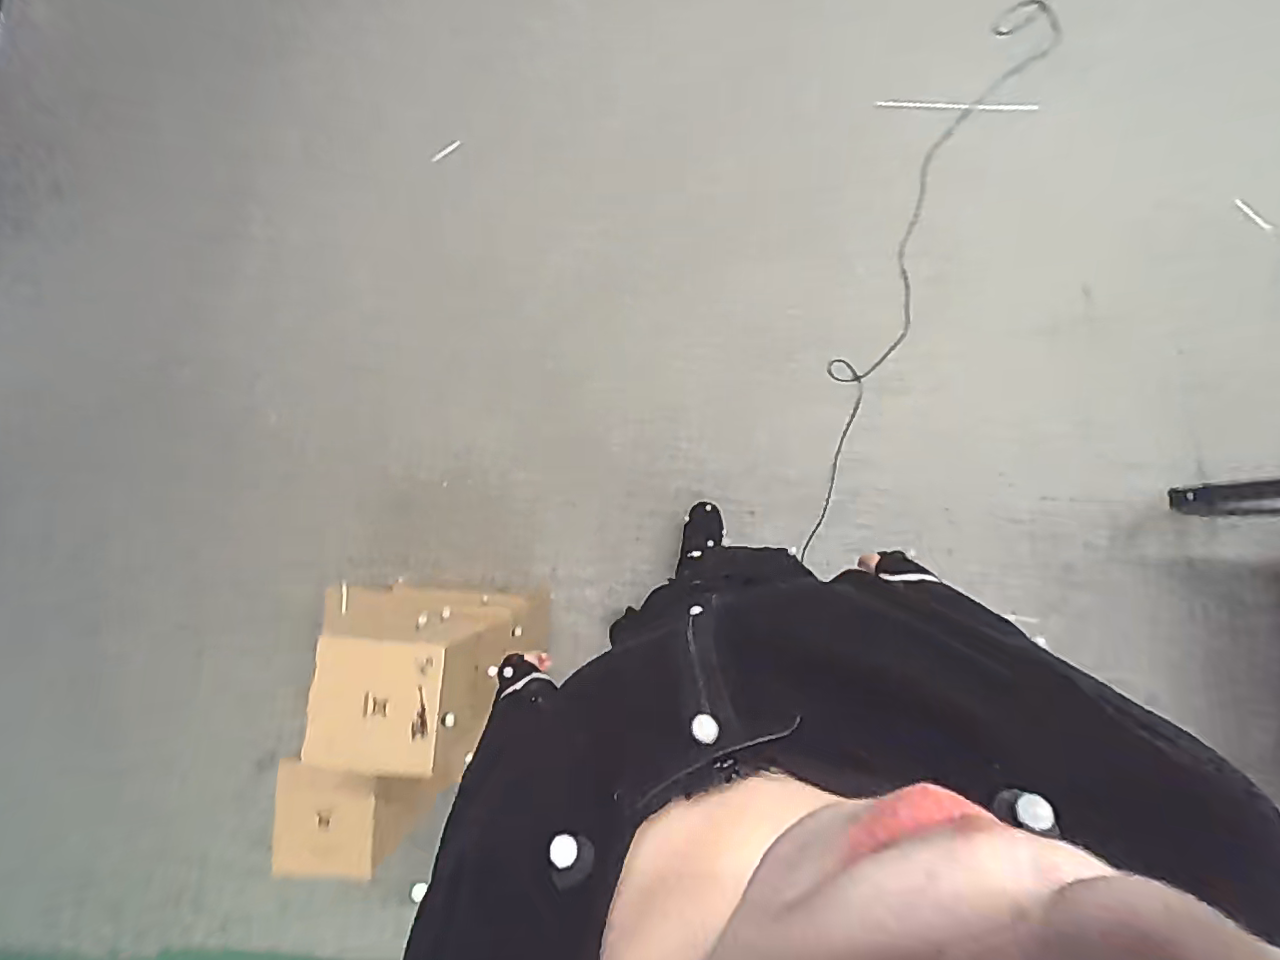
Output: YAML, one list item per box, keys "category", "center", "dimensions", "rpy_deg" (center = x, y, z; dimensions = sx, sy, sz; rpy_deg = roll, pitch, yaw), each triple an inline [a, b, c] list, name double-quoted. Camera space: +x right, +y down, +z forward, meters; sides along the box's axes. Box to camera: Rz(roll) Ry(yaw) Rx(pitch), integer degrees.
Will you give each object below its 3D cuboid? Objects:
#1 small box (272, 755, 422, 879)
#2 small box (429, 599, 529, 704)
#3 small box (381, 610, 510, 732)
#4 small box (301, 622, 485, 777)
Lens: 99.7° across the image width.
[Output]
- category: "small box"
  center: [-0.494, 0.545, 0.937]
  dimensions: [0.168, 0.176, 0.179]
  rpy_deg: [0, 85, 4]
- category: "small box"
  center: [-0.333, 0.344, 1.115]
  dimensions: [0.168, 0.176, 0.179]
  rpy_deg: [4, 83, 3]
- category: "small box"
  center: [-0.343, 0.325, 0.953]
  dimensions: [0.179, 0.176, 0.168]
  rpy_deg: [4, 83, 2]
- category: "small box"
  center: [-0.347, 0.306, 0.790]
  dimensions: [0.179, 0.176, 0.168]
  rpy_deg: [4, 83, 3]
